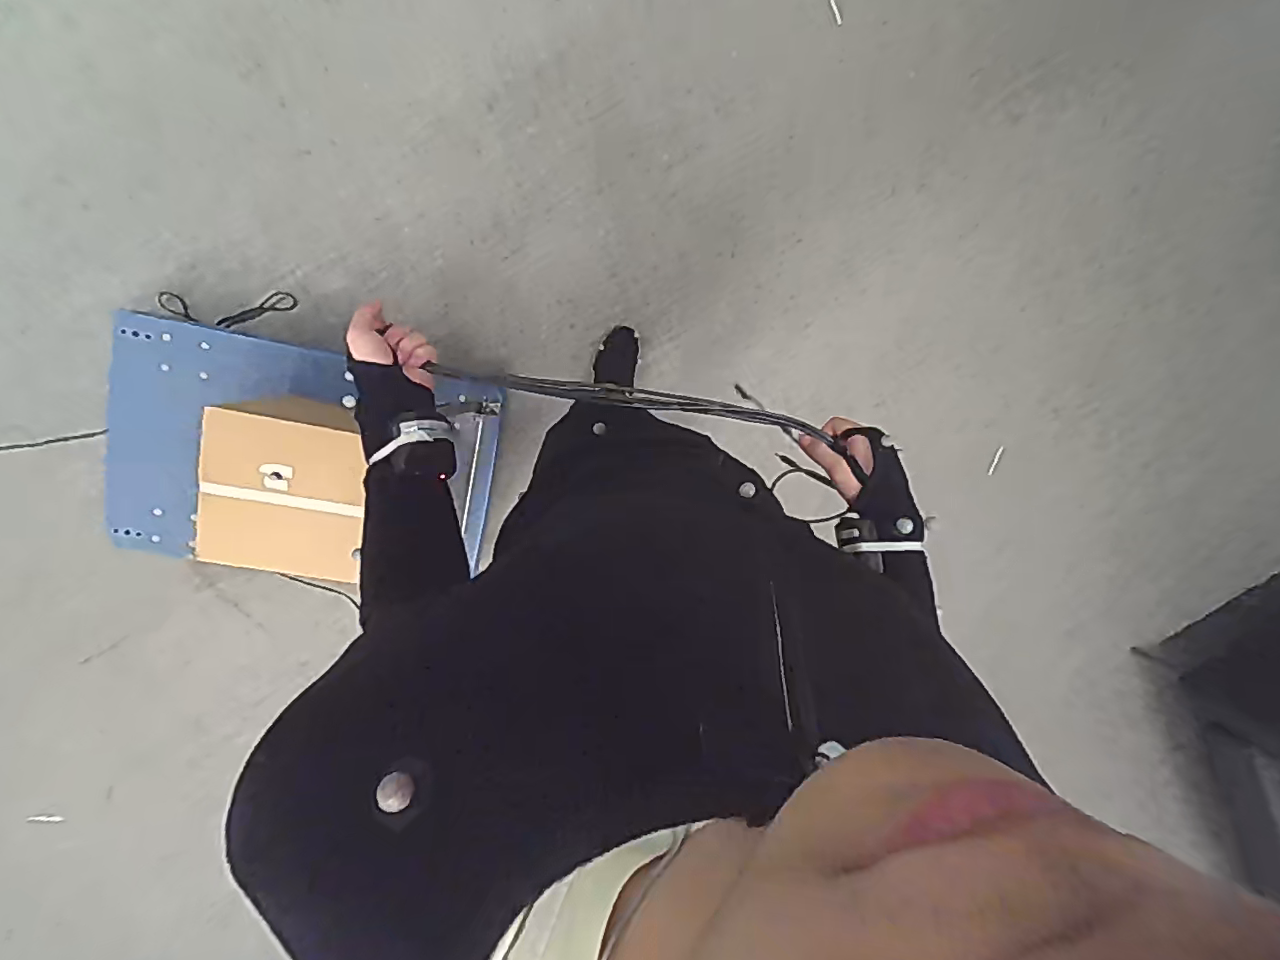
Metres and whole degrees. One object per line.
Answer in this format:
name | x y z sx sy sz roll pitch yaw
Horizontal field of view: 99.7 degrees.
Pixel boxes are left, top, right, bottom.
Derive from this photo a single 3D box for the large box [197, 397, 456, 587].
large box | -0.658 0.011 1.200 0.408 0.320 0.320 11 100 -9
